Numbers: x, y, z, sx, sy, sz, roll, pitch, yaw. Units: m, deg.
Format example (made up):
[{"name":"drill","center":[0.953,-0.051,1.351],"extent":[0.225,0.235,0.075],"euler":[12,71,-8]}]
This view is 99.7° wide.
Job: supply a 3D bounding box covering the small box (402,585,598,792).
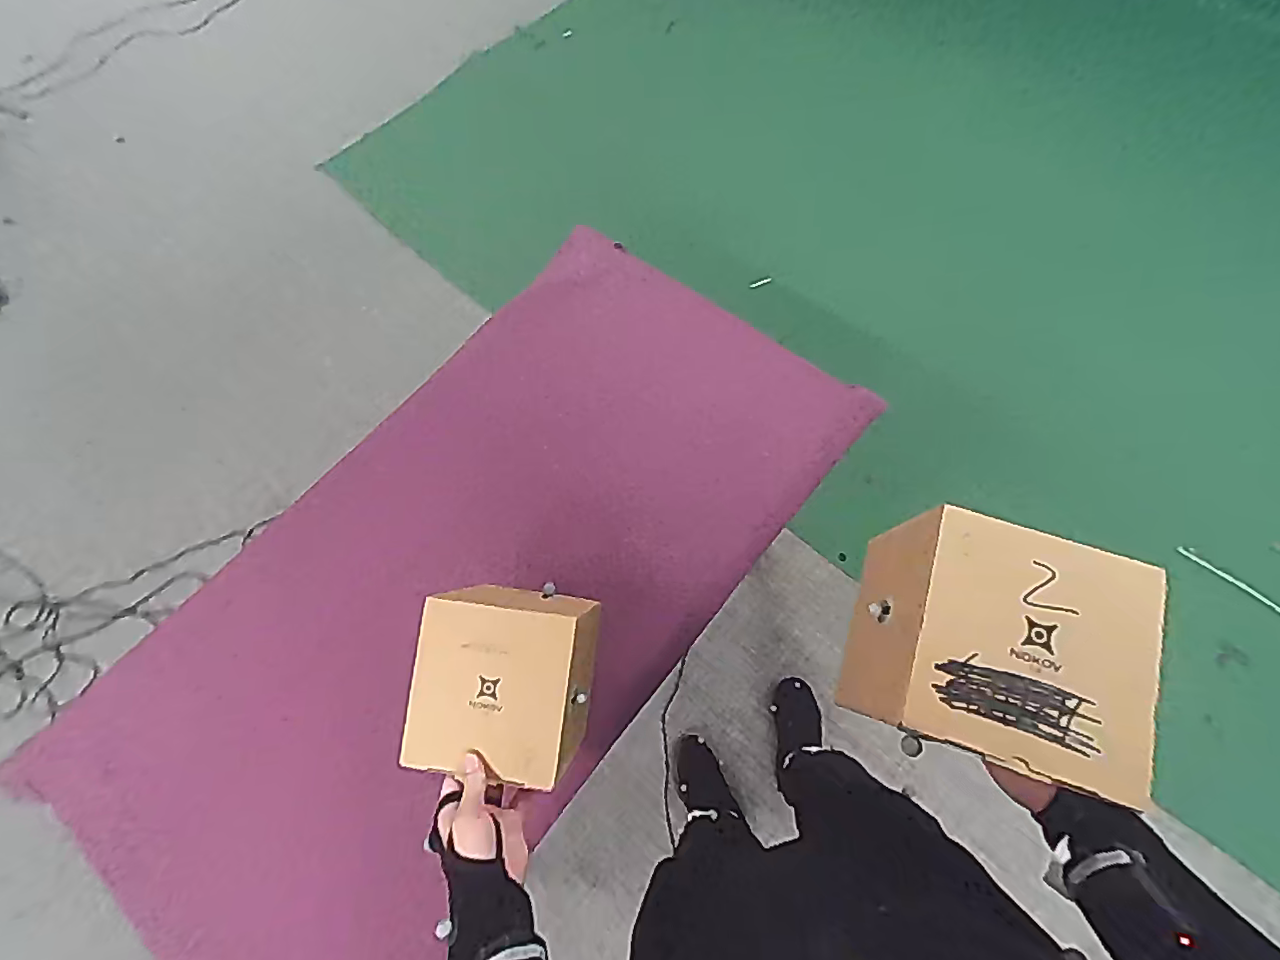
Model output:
[{"name":"small box","center":[-0.149,0.228,0.639],"extent":[0.168,0.176,0.179],"euler":[7,84,5]}]
